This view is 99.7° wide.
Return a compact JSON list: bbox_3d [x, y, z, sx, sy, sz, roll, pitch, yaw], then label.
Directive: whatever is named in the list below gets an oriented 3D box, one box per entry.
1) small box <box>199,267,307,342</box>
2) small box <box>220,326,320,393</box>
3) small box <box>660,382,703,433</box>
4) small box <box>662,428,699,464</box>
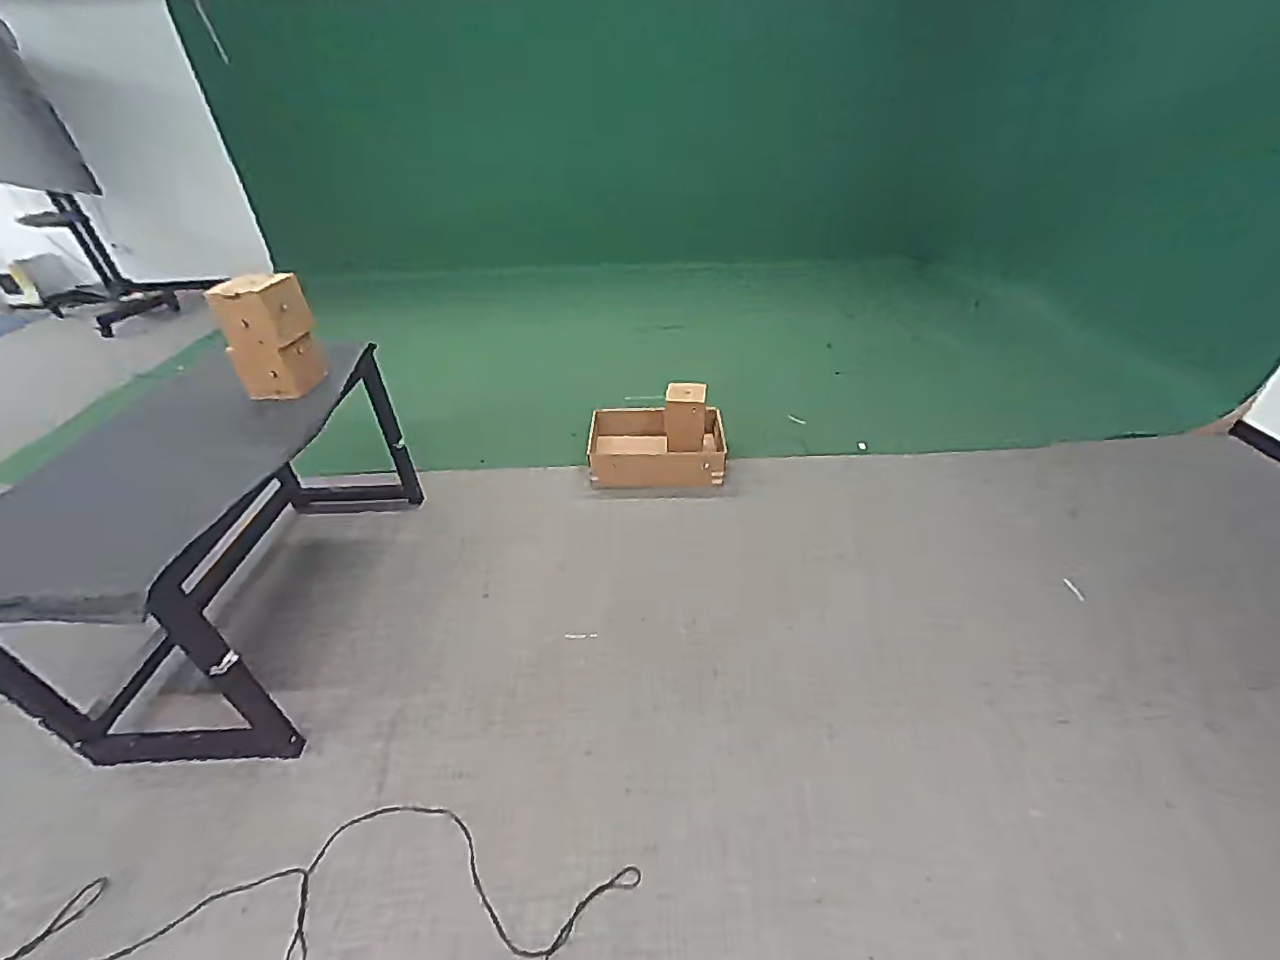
[{"bbox_3d":[-1.133,-0.519,1.605,0.168,0.176,0.179,2,38,5],"label":"small box"},{"bbox_3d":[-1.146,-0.381,1.695,0.168,0.176,0.179,1,36,2],"label":"small box"},{"bbox_3d":[0.187,-0.325,2.435,0.179,0.176,0.168,4,38,7],"label":"small box"},{"bbox_3d":[0.191,-0.198,2.540,0.168,0.176,0.179,3,39,7],"label":"small box"}]
